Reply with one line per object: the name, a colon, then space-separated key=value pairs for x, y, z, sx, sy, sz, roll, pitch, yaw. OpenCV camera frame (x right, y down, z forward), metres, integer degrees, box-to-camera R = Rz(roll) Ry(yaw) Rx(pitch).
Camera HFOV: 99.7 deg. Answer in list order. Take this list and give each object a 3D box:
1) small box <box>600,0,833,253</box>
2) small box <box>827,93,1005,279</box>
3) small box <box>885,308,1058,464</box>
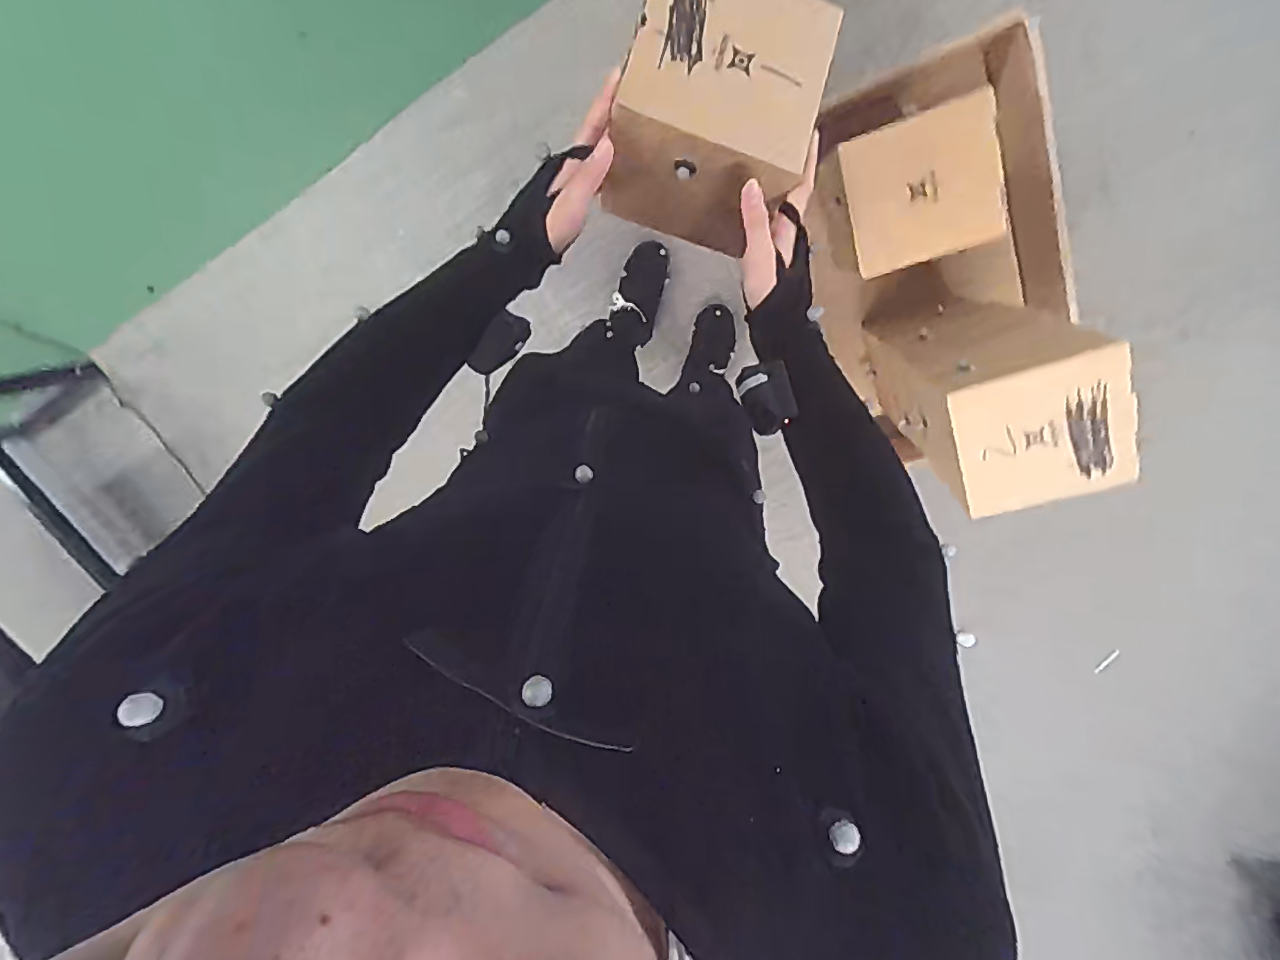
small box: x=0.062 y=-0.362 z=0.554 sx=0.179 sy=0.176 sz=0.168 roll=15 pitch=86 yaw=-8
small box: x=0.363 y=-0.385 z=0.741 sx=0.179 sy=0.176 sz=0.168 roll=-14 pitch=110 yaw=15
small box: x=0.487 y=-0.147 z=0.820 sx=0.179 sy=0.176 sz=0.168 roll=-17 pitch=110 yaw=16
